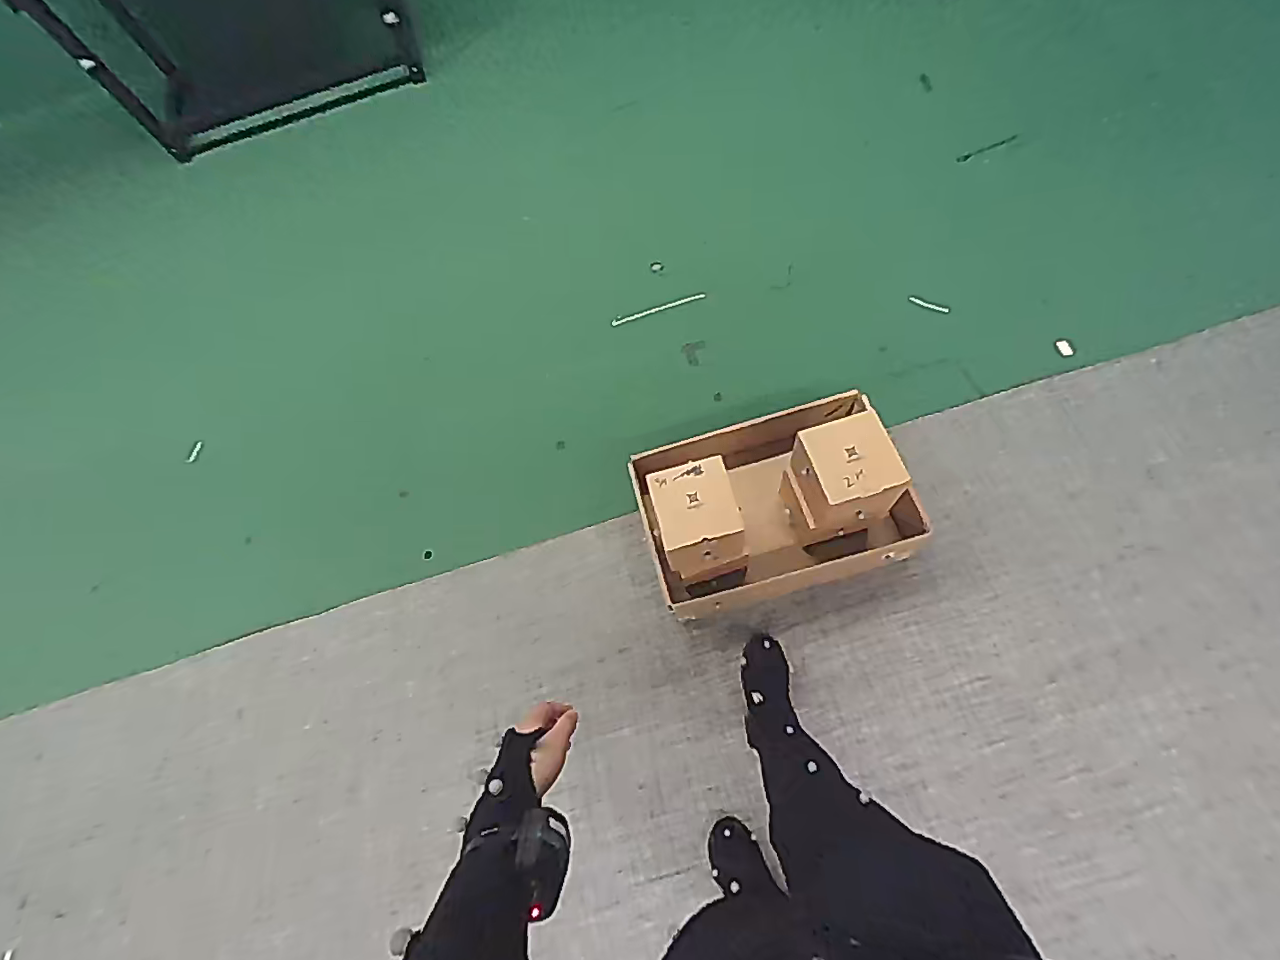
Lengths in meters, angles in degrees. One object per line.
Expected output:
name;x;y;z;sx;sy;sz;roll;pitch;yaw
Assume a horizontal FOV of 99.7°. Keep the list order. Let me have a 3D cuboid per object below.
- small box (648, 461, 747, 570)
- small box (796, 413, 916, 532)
small box;0.125;0.085;1.152;0.168;0.176;0.179;-15;67;2
small box;0.442;-0.010;1.143;0.168;0.176;0.179;-17;66;2
